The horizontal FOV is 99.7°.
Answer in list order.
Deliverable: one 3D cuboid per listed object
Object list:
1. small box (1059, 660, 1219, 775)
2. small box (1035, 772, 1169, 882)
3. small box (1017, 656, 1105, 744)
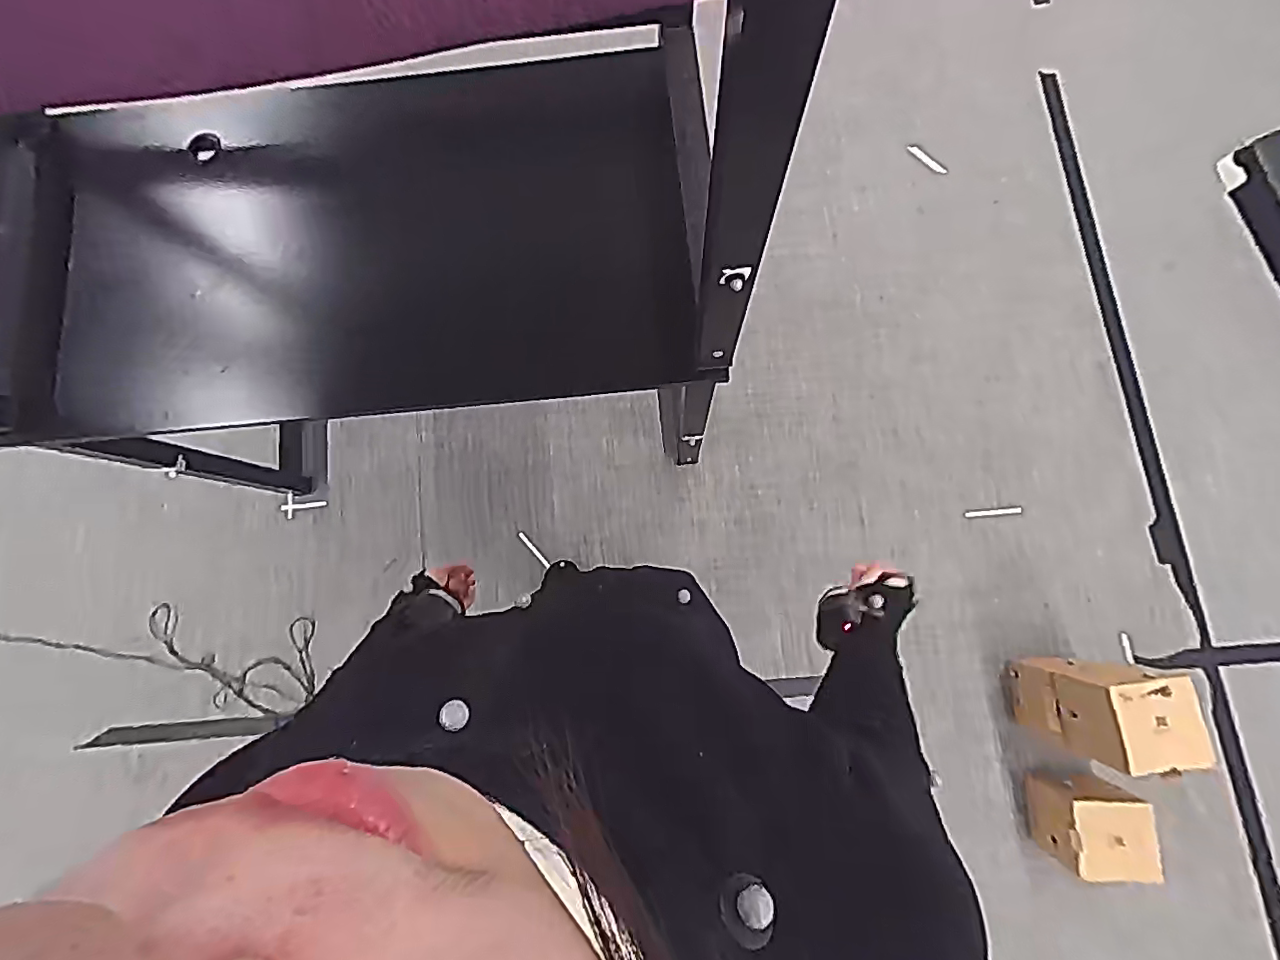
[{"bbox_3d":[1.047,0.497,1.151,0.168,0.176,0.179,-8,82,1],"label":"small box"},{"bbox_3d":[1.068,0.806,1.270,0.179,0.176,0.168,0,82,2],"label":"small box"},{"bbox_3d":[1.052,0.527,1.312,0.179,0.176,0.168,-4,81,2],"label":"small box"}]
